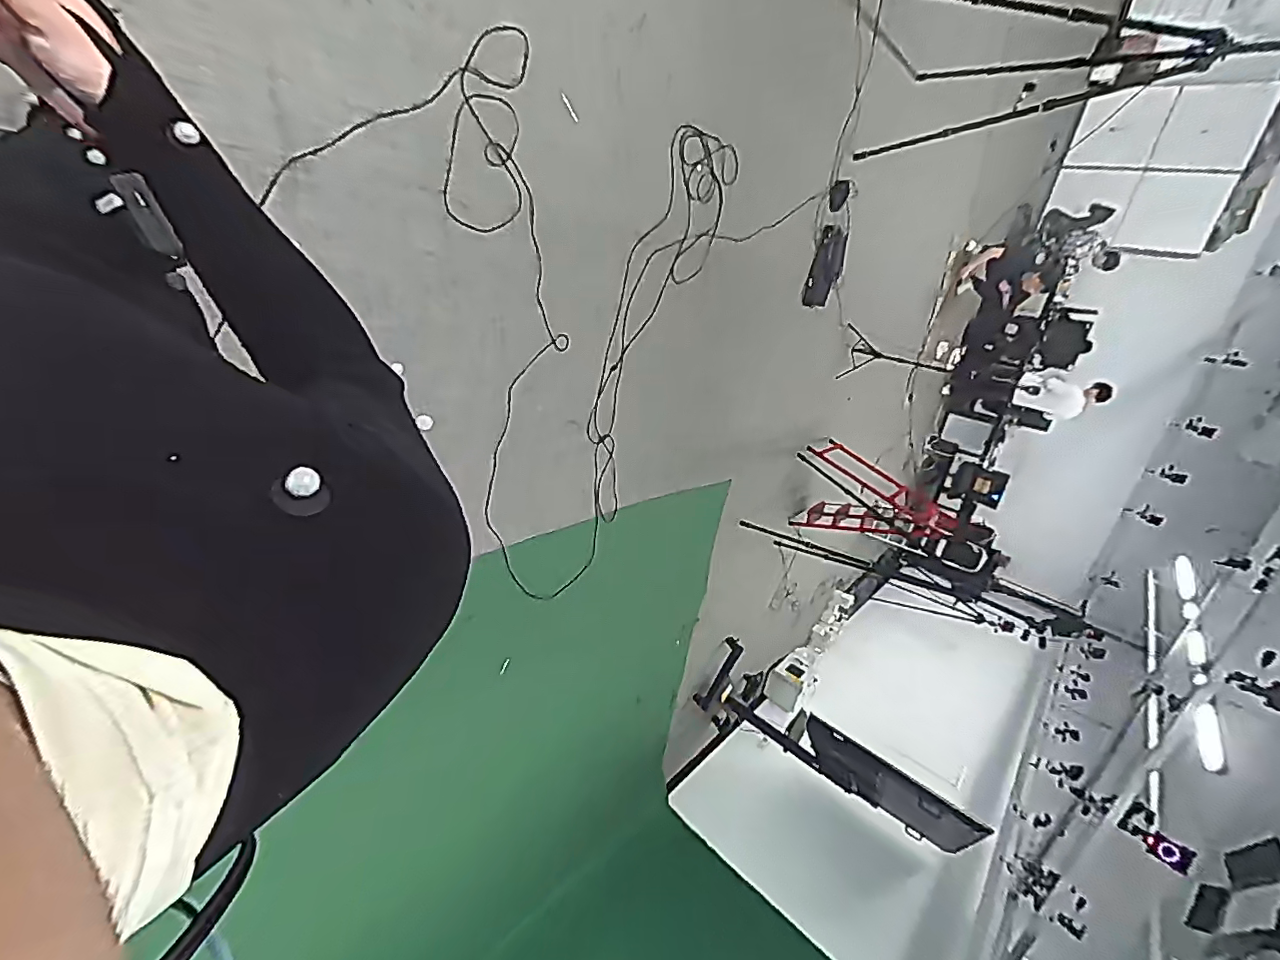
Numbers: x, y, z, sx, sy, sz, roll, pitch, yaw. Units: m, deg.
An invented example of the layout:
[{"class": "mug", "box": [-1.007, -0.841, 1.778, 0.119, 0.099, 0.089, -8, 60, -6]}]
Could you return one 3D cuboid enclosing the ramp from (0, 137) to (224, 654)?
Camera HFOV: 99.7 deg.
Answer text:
[{"class": "ramp", "box": [-1.240, -0.145, 1.089, 0.509, 0.206, 0.991, -18, 124, -43]}]
